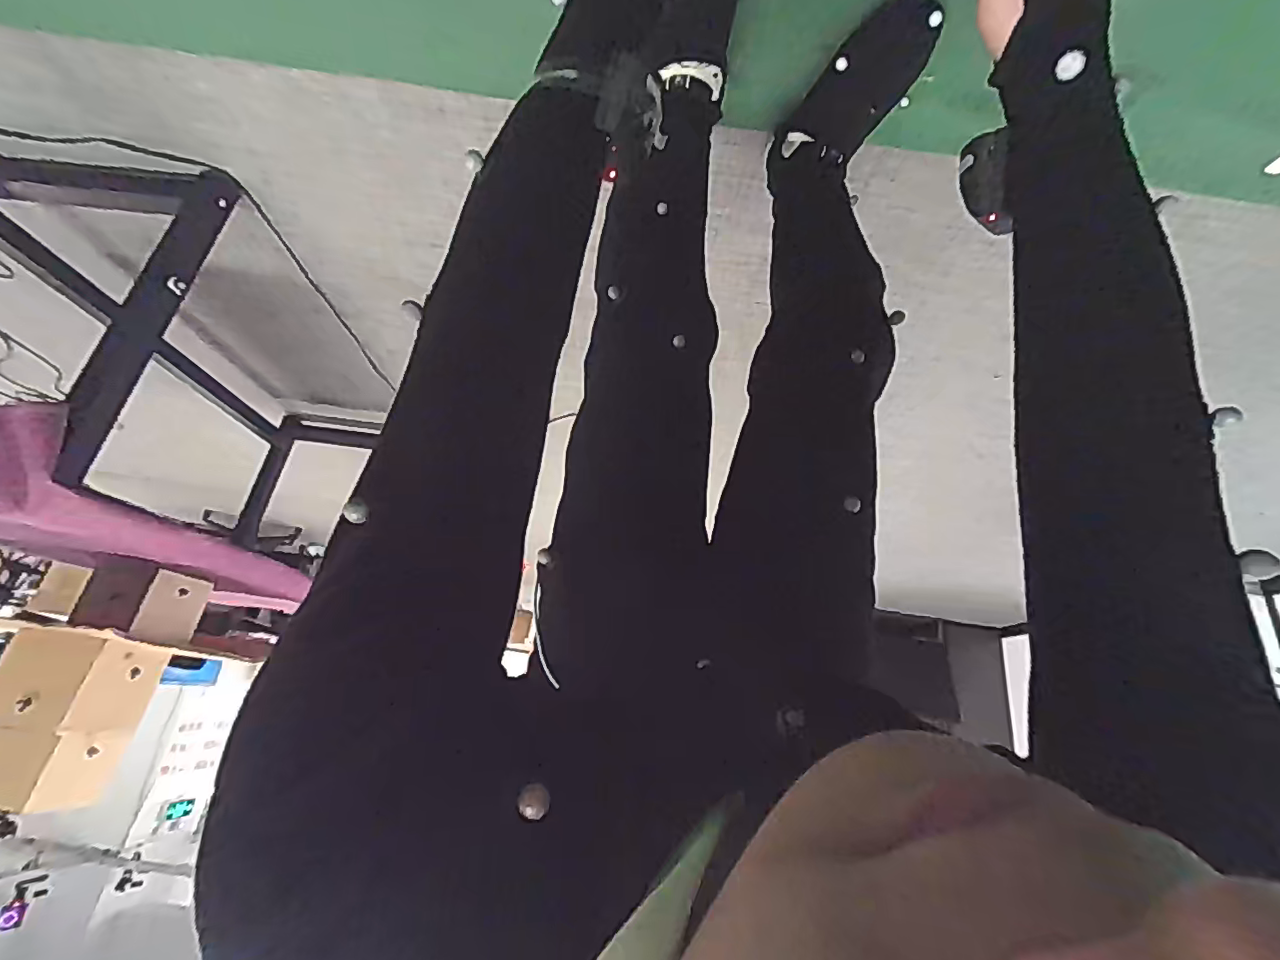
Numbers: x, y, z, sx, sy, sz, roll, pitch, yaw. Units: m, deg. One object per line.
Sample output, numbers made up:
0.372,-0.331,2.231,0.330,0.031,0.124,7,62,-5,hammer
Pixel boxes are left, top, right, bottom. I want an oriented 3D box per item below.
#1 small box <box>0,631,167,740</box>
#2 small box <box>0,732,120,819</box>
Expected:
-1.074,0.390,1.029,0.179,0.176,0.168,6,155,3,small box
-1.282,0.608,1.158,0.179,0.176,0.168,6,154,3,small box
